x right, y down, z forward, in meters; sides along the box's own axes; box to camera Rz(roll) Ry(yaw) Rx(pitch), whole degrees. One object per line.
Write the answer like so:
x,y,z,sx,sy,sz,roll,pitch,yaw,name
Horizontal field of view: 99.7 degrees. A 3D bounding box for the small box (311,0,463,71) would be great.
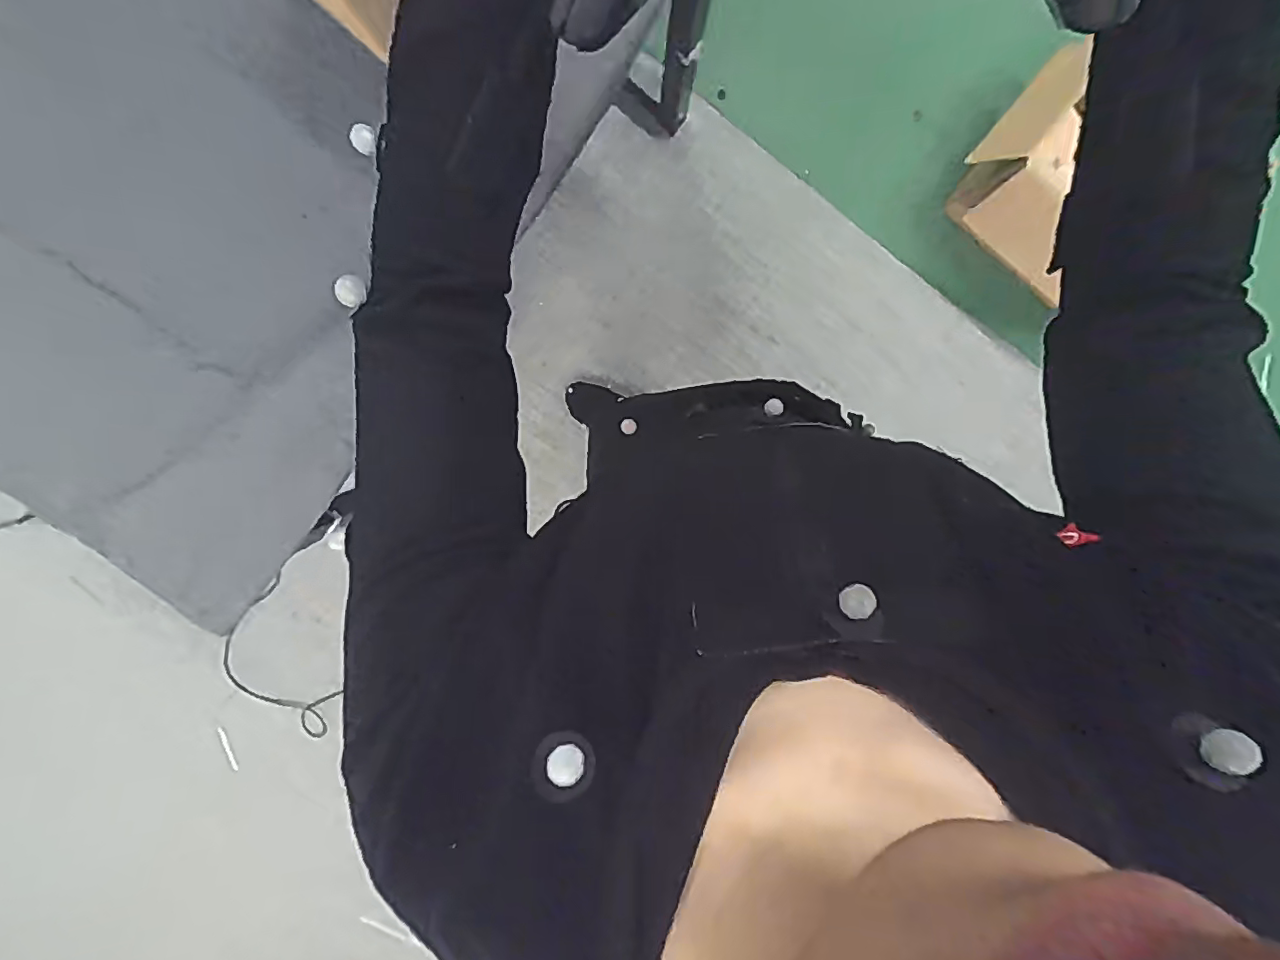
-0.290,-0.568,0.536,0.179,0.176,0.168,40,98,-8,small box
